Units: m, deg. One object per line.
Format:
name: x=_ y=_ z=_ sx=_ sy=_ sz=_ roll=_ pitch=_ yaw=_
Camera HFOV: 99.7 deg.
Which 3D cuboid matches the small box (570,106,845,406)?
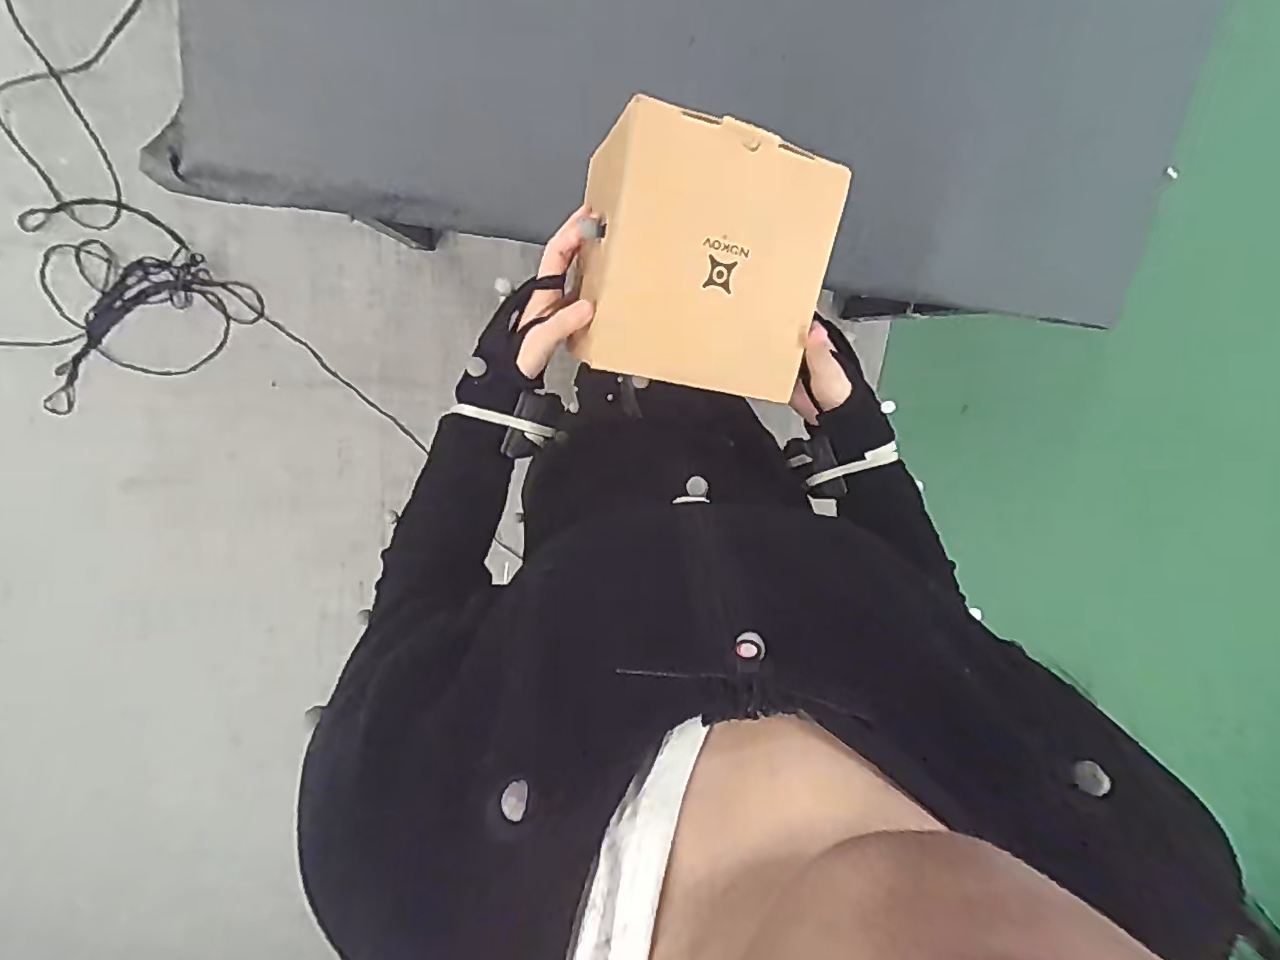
small box: x=0.039 y=-0.175 z=0.469 sx=0.168 sy=0.176 sz=0.179 roll=7 pitch=104 yaw=-18
